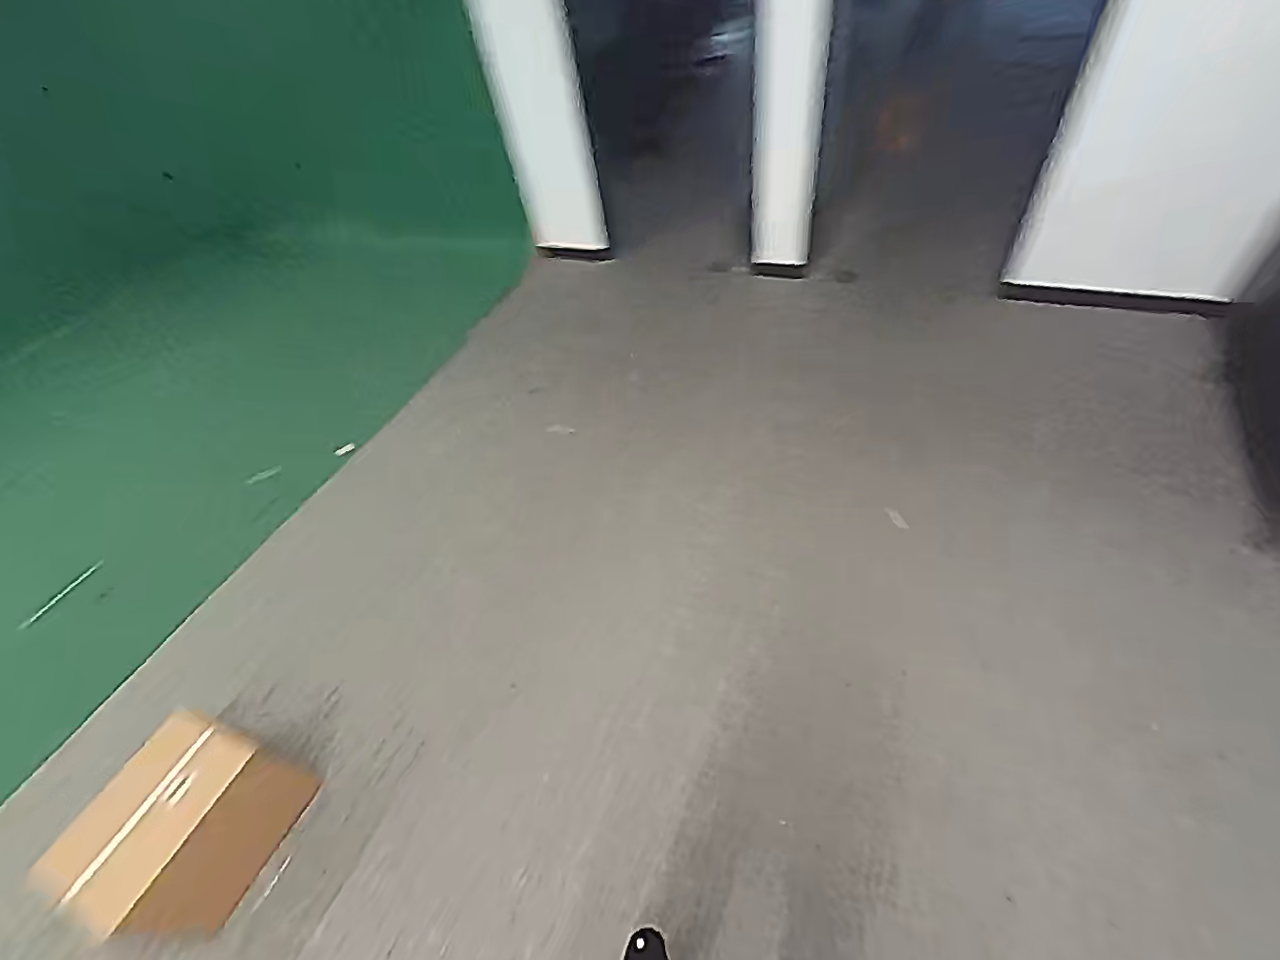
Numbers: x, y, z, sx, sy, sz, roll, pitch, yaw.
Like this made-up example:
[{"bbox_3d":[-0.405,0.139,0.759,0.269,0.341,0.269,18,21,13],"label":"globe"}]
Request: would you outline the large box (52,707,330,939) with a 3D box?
[{"bbox_3d":[-1.142,0.897,1.428,0.320,0.320,0.408,13,52,21],"label":"large box"}]
